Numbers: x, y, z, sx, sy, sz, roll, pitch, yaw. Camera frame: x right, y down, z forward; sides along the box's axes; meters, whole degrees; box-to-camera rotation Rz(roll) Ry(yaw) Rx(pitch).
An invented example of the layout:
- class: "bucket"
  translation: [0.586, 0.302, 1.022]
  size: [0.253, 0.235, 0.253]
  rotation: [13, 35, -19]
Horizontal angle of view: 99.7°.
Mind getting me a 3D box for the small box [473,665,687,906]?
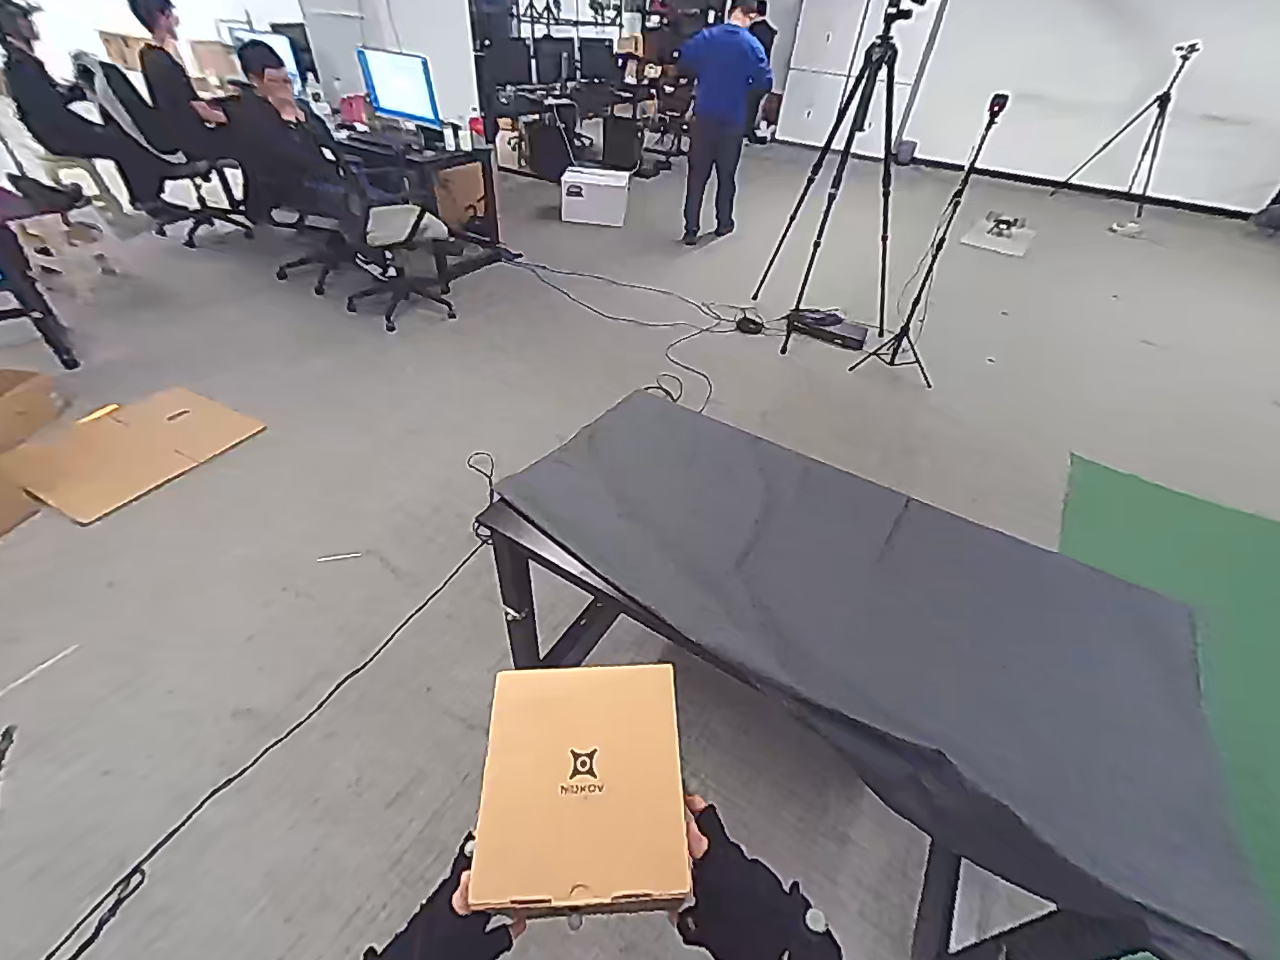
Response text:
- class: "small box"
  translation: [-0.050, 0.296, 0.522]
  size: [0.168, 0.176, 0.179]
  rotation: [-1, 51, -2]
